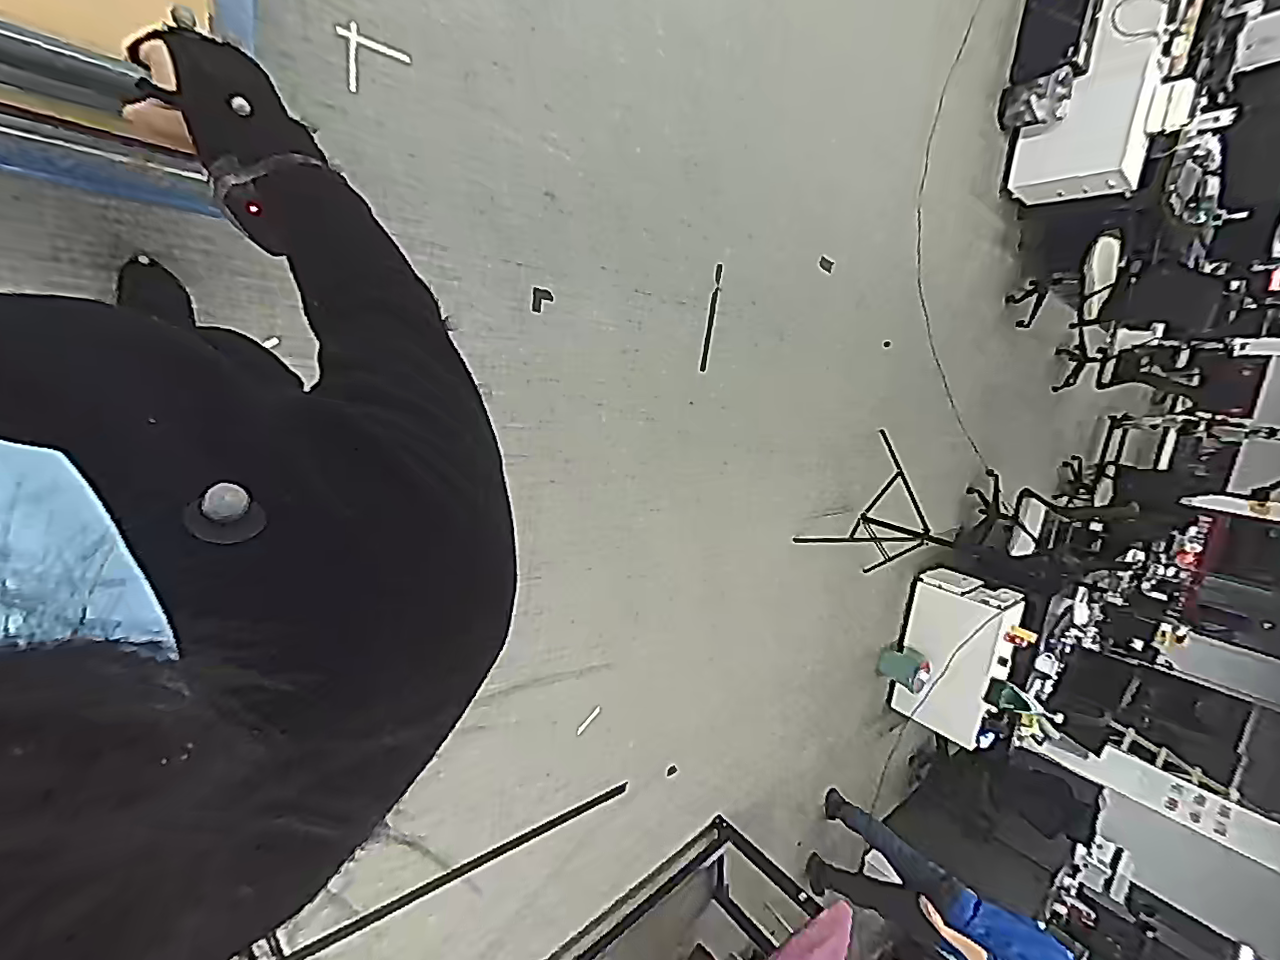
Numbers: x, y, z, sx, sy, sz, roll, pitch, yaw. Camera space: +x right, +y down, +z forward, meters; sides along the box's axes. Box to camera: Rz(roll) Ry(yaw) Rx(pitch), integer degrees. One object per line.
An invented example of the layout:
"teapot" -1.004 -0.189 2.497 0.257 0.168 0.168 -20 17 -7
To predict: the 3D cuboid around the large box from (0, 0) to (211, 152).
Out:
"large box" -0.813 -0.674 0.678 0.408 0.320 0.320 -3 106 -41
